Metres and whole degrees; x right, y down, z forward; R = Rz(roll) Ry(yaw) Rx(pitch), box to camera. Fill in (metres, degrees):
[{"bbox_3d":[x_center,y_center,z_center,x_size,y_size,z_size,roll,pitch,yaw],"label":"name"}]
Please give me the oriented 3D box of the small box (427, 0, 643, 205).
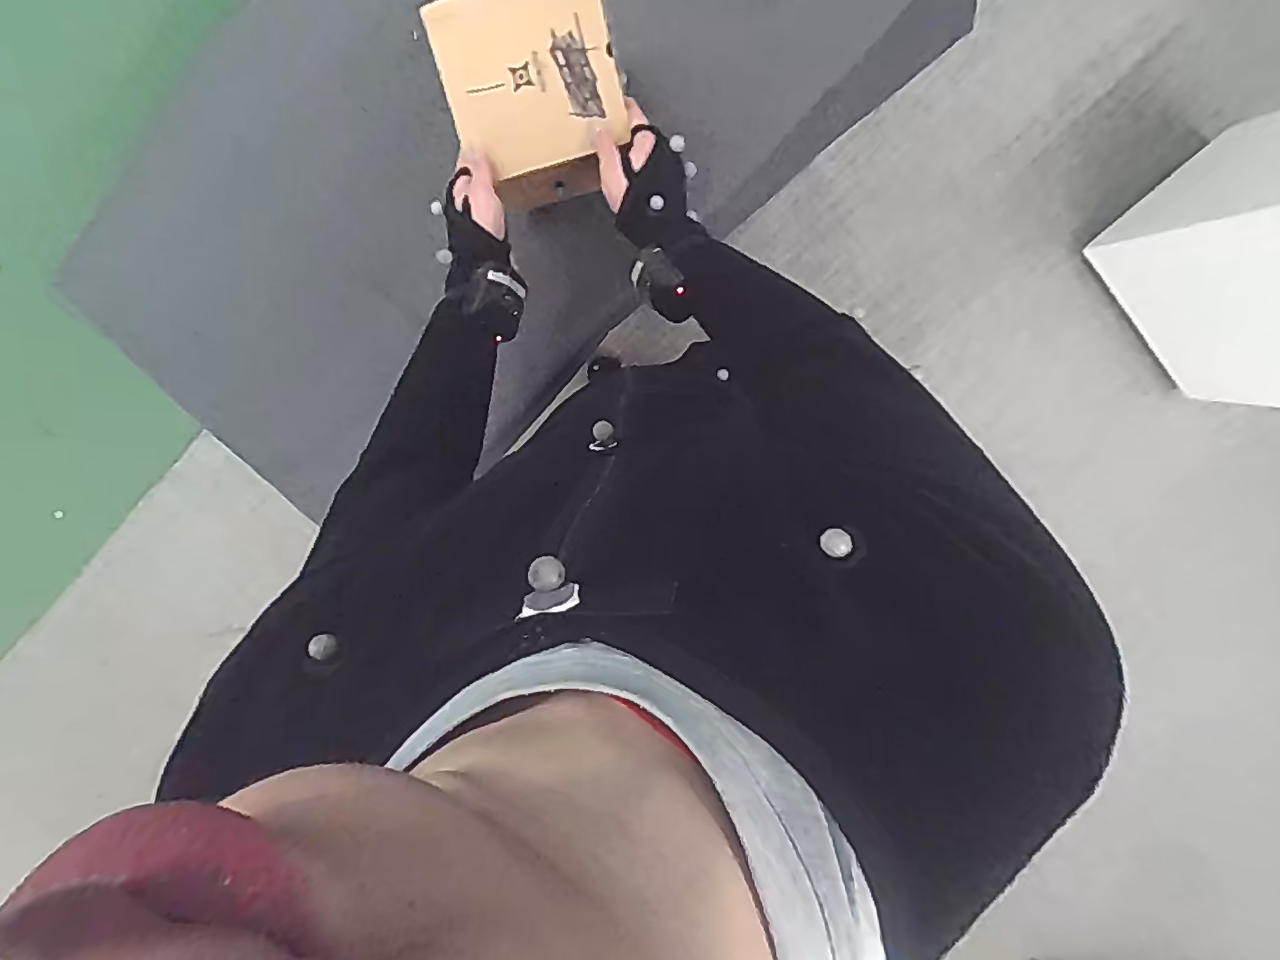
[{"bbox_3d":[-0.097,-0.420,0.592,0.179,0.176,0.168,-11,107,5],"label":"small box"}]
